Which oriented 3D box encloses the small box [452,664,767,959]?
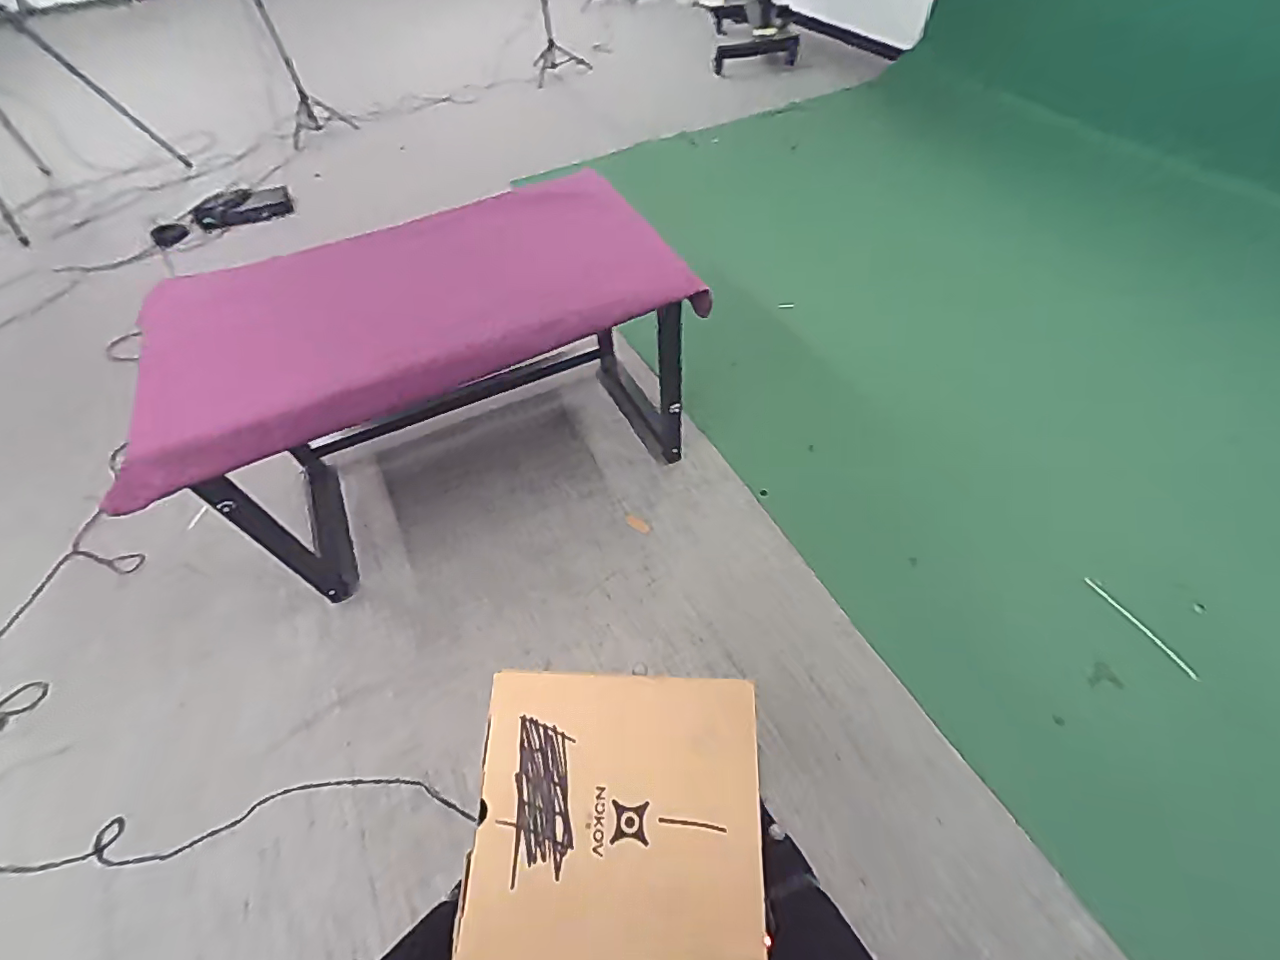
[{"bbox_3d":[-0.012,0.236,0.398,0.179,0.176,0.168,2,64,2],"label":"small box"}]
